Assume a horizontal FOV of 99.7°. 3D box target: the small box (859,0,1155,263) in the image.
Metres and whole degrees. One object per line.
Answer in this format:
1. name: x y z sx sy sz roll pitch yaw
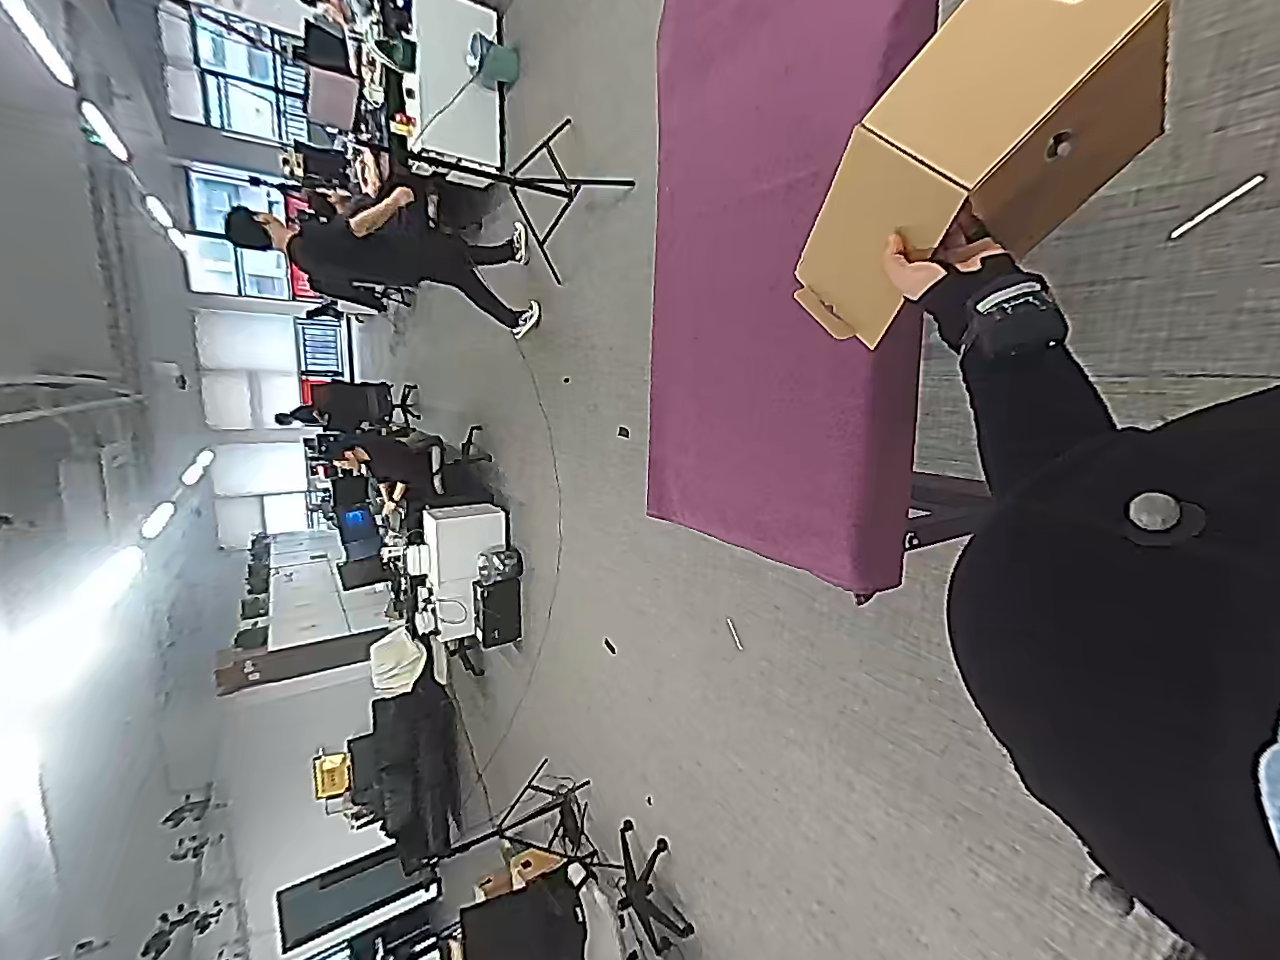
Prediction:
1. small box: 0.370 -0.360 0.551 0.179 0.176 0.168 -46 53 25
